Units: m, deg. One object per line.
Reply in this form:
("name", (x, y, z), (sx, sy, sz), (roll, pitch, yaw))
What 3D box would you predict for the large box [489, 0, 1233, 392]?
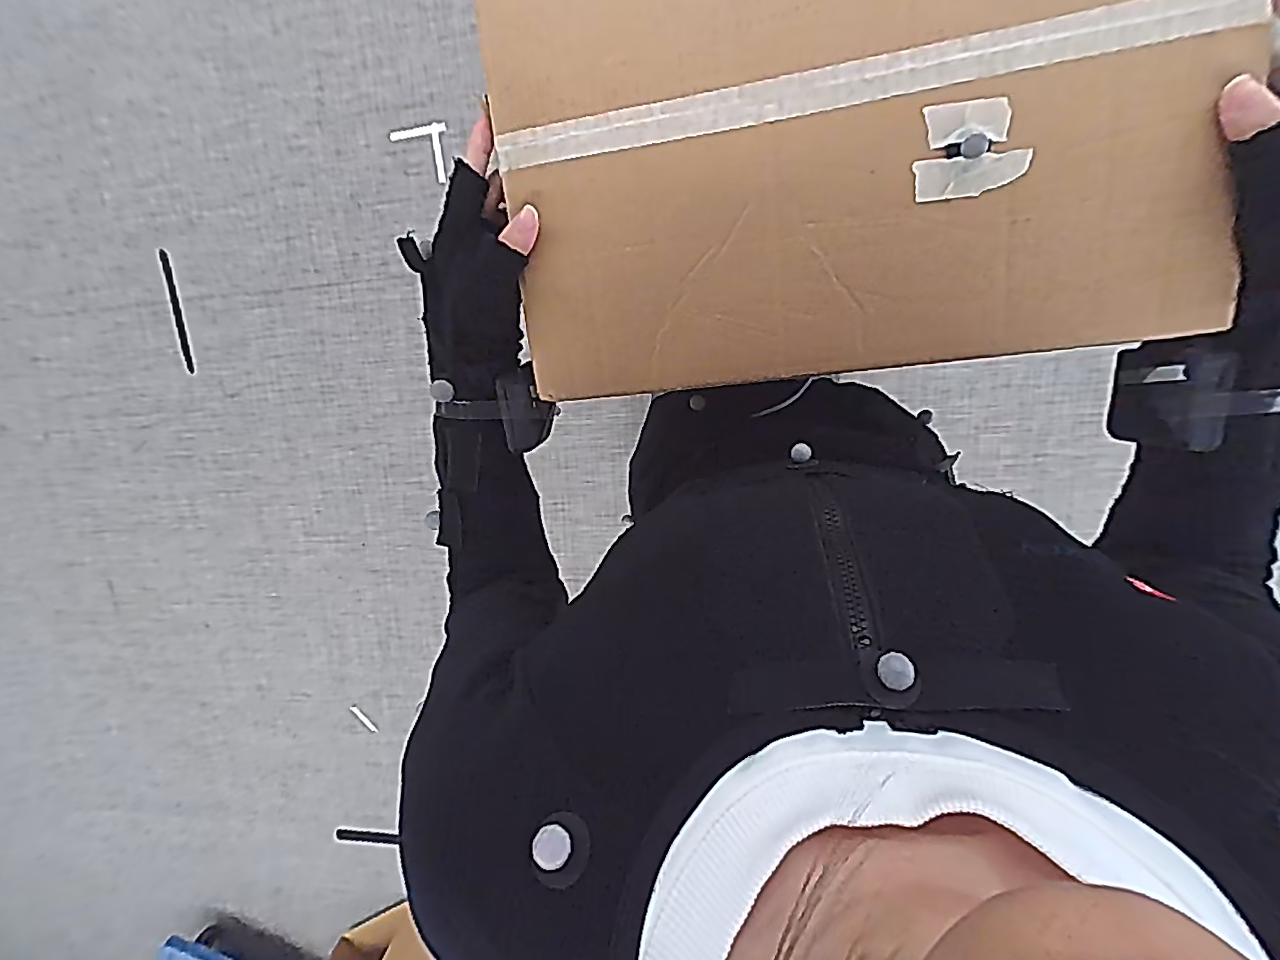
("large box", (0.133, -0.263, 0.458), (0.408, 0.320, 0.320), (-5, 104, 10))
